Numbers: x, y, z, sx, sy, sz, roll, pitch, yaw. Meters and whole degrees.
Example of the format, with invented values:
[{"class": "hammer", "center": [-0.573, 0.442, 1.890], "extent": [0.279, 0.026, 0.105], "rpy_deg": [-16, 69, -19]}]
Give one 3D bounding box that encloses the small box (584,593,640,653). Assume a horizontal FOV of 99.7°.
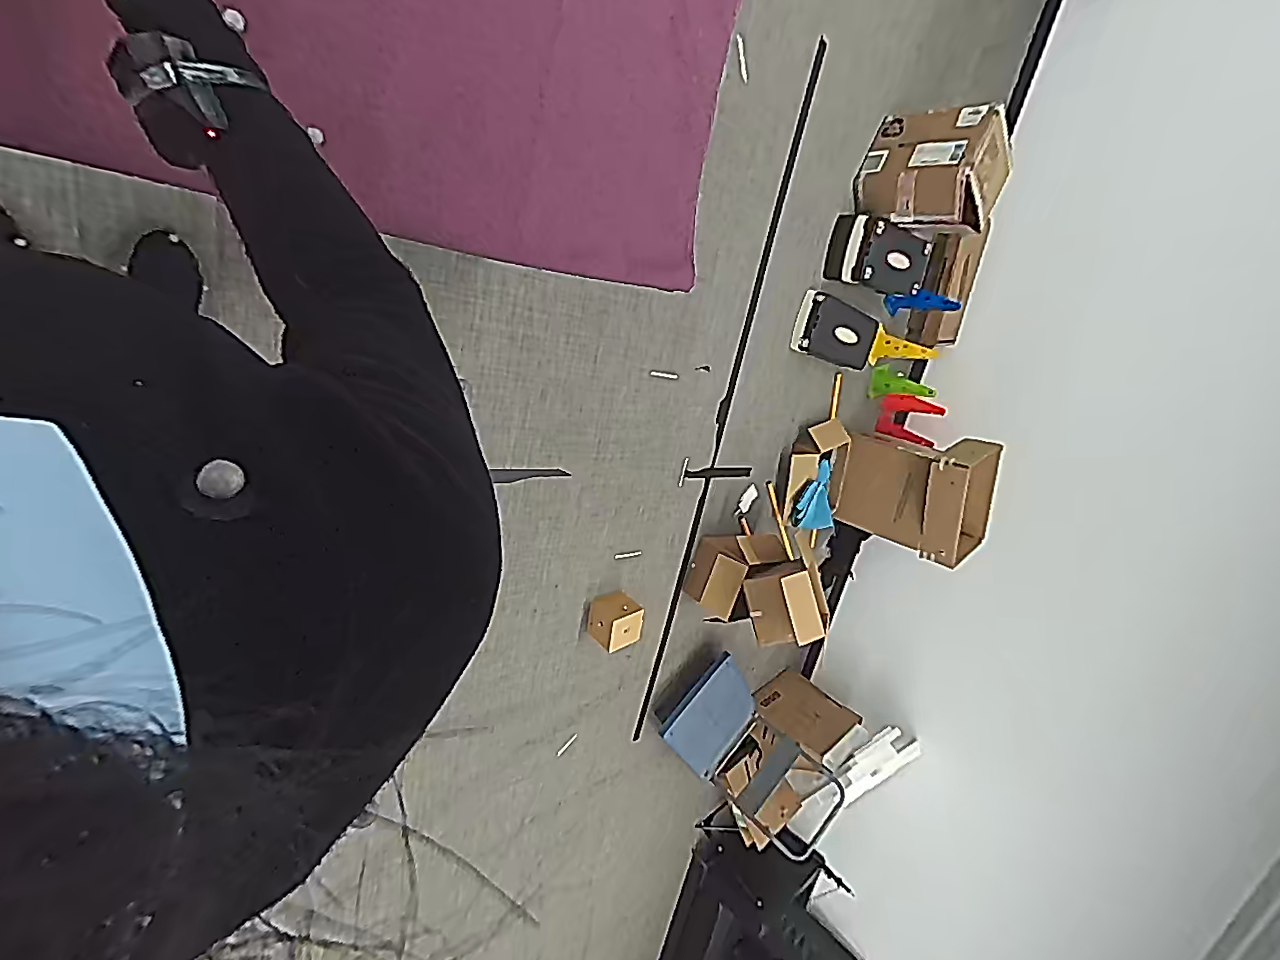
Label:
[{"class": "small box", "center": [-0.125, 0.616, 2.347], "extent": [0.179, 0.176, 0.168], "rpy_deg": [-11, 118, -42]}]
